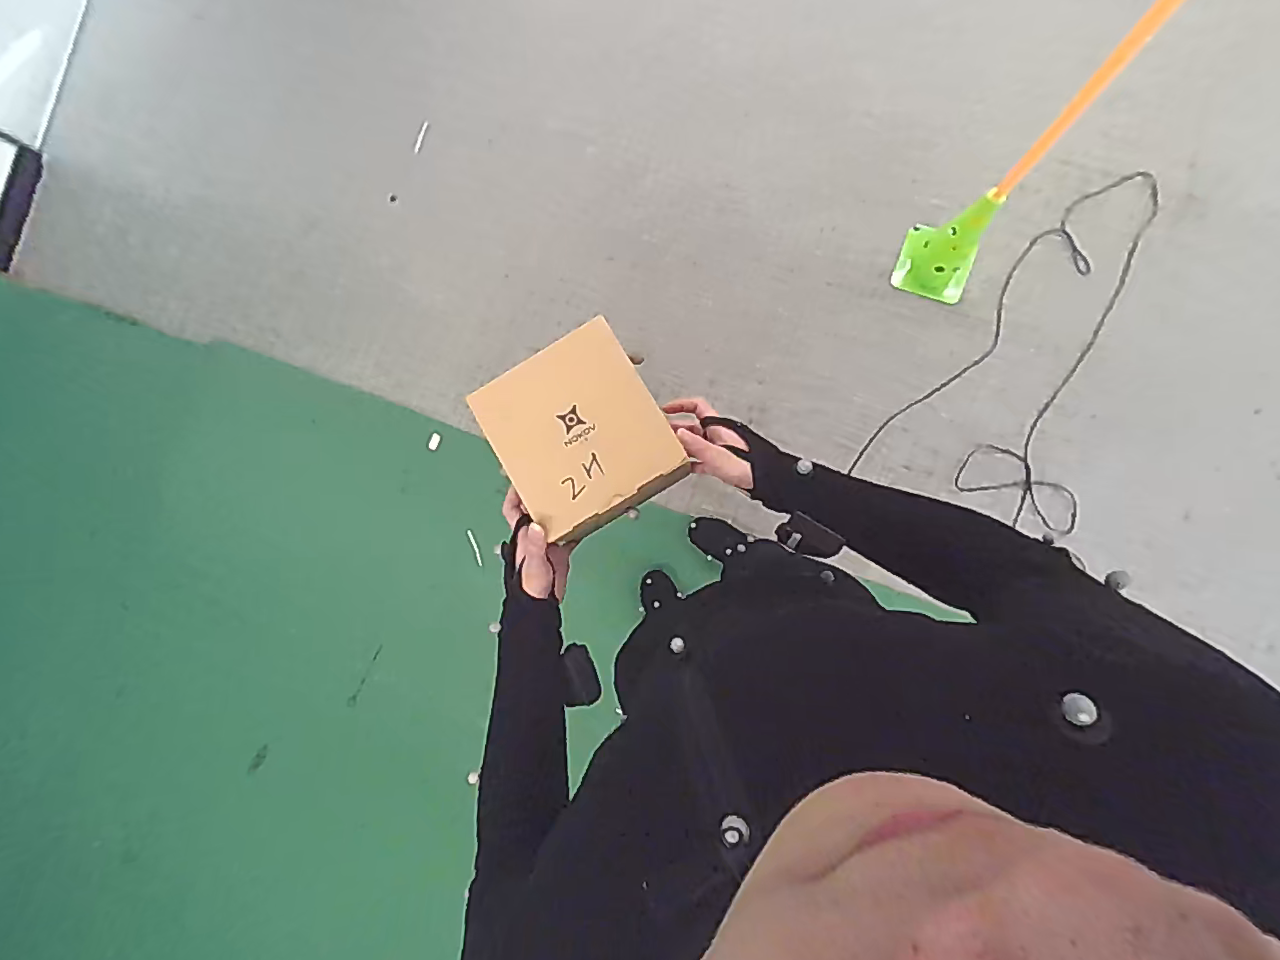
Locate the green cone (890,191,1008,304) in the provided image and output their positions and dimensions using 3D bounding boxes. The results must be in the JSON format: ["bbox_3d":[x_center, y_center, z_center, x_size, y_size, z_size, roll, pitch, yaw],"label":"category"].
[{"bbox_3d":[0.843,-0.642,1.424,0.202,0.368,0.200,20,91,6],"label":"green cone"}]
